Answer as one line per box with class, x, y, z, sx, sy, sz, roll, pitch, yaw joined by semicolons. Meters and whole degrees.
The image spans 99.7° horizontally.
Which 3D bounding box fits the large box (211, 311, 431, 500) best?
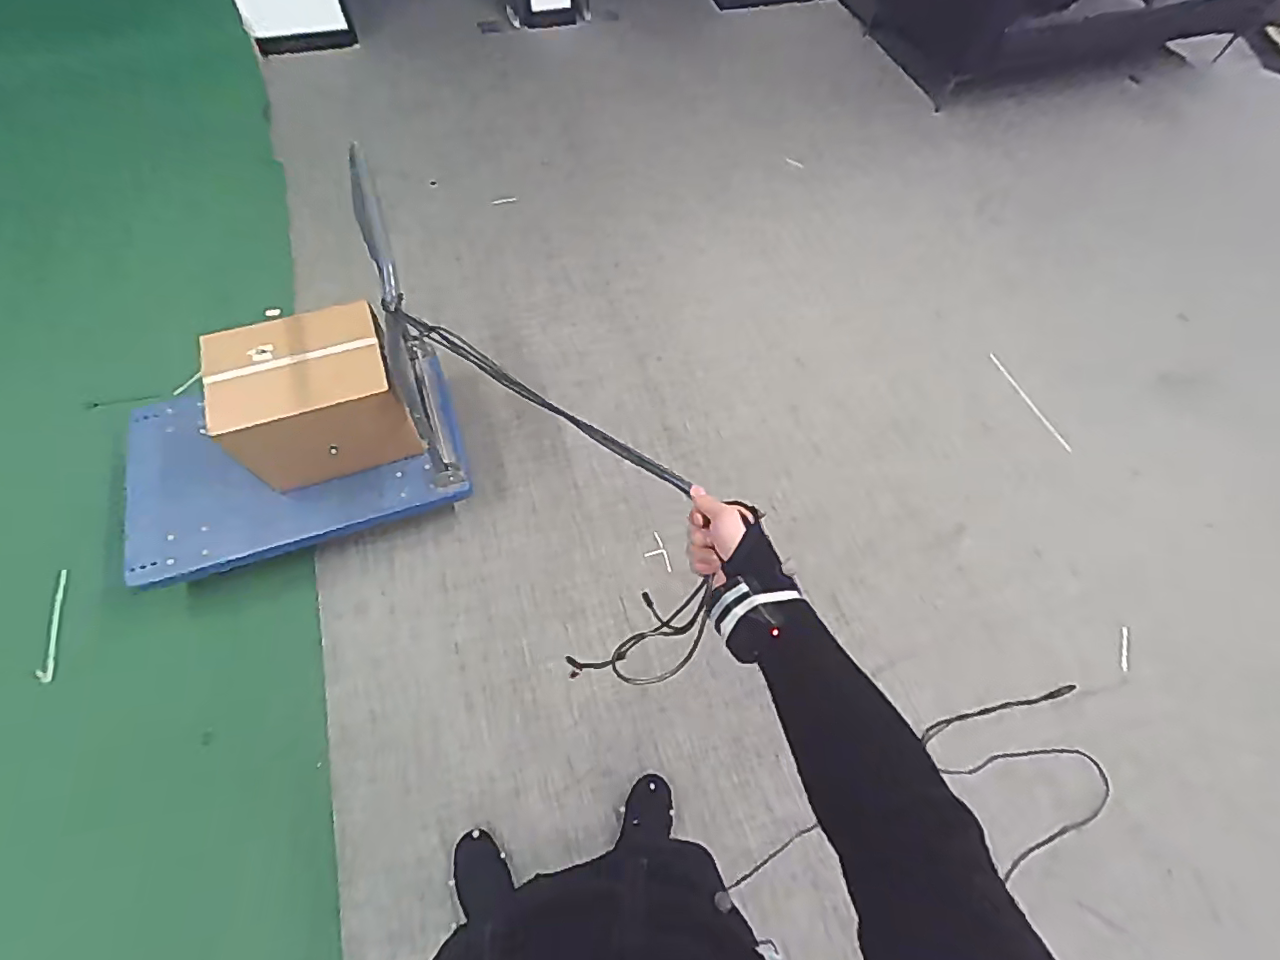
large box;-0.838;-0.195;1.461;0.408;0.320;0.320;-18;64;-12
